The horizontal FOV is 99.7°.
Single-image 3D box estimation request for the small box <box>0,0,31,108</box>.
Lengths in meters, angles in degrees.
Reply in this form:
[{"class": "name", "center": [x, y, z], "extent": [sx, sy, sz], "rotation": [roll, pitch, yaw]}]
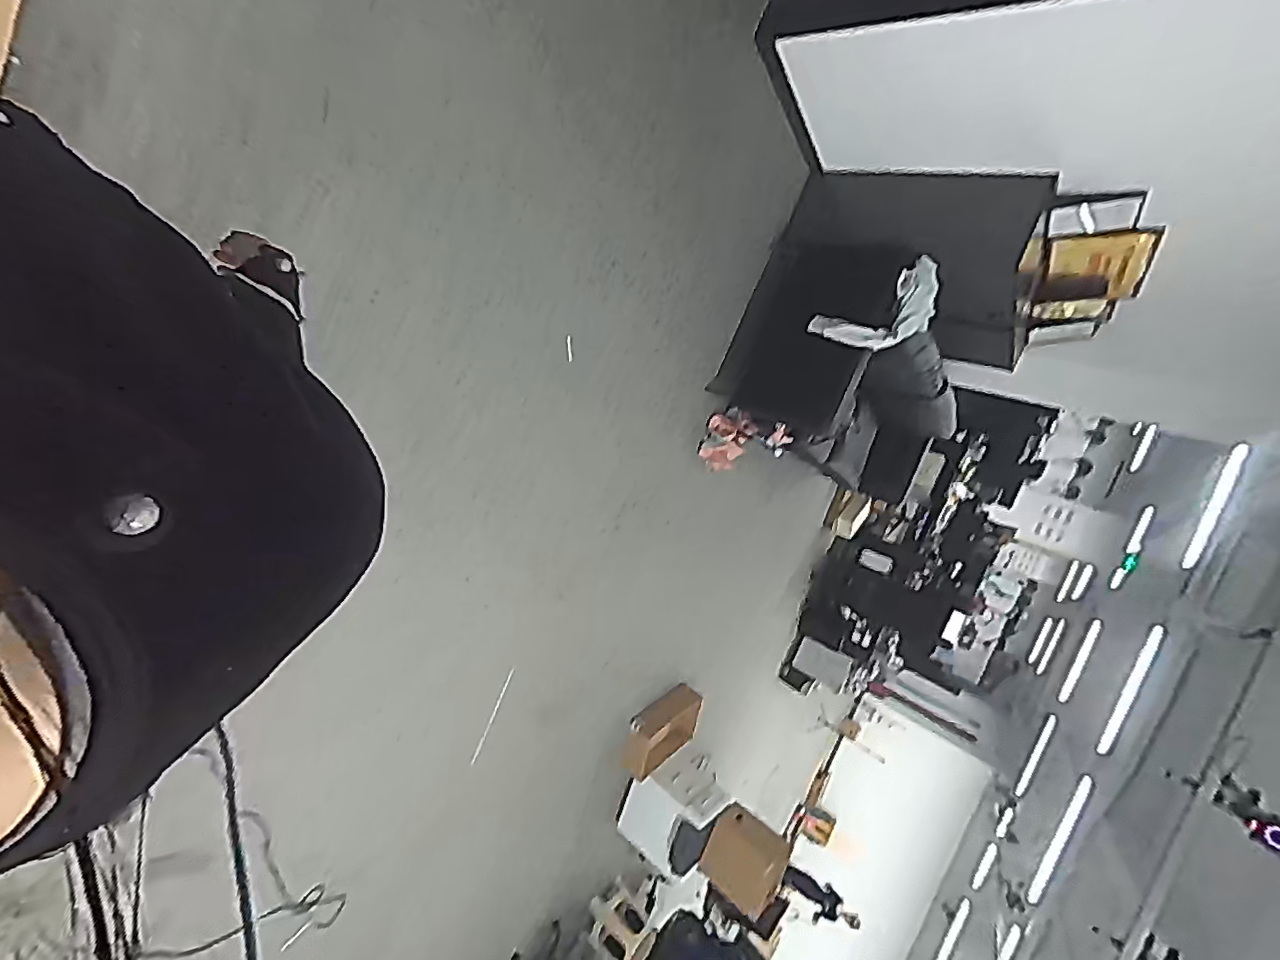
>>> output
[{"class": "small box", "center": [-1.034, -0.673, 0.779], "extent": [0.179, 0.176, 0.168], "rotation": [16, 97, -54]}]
